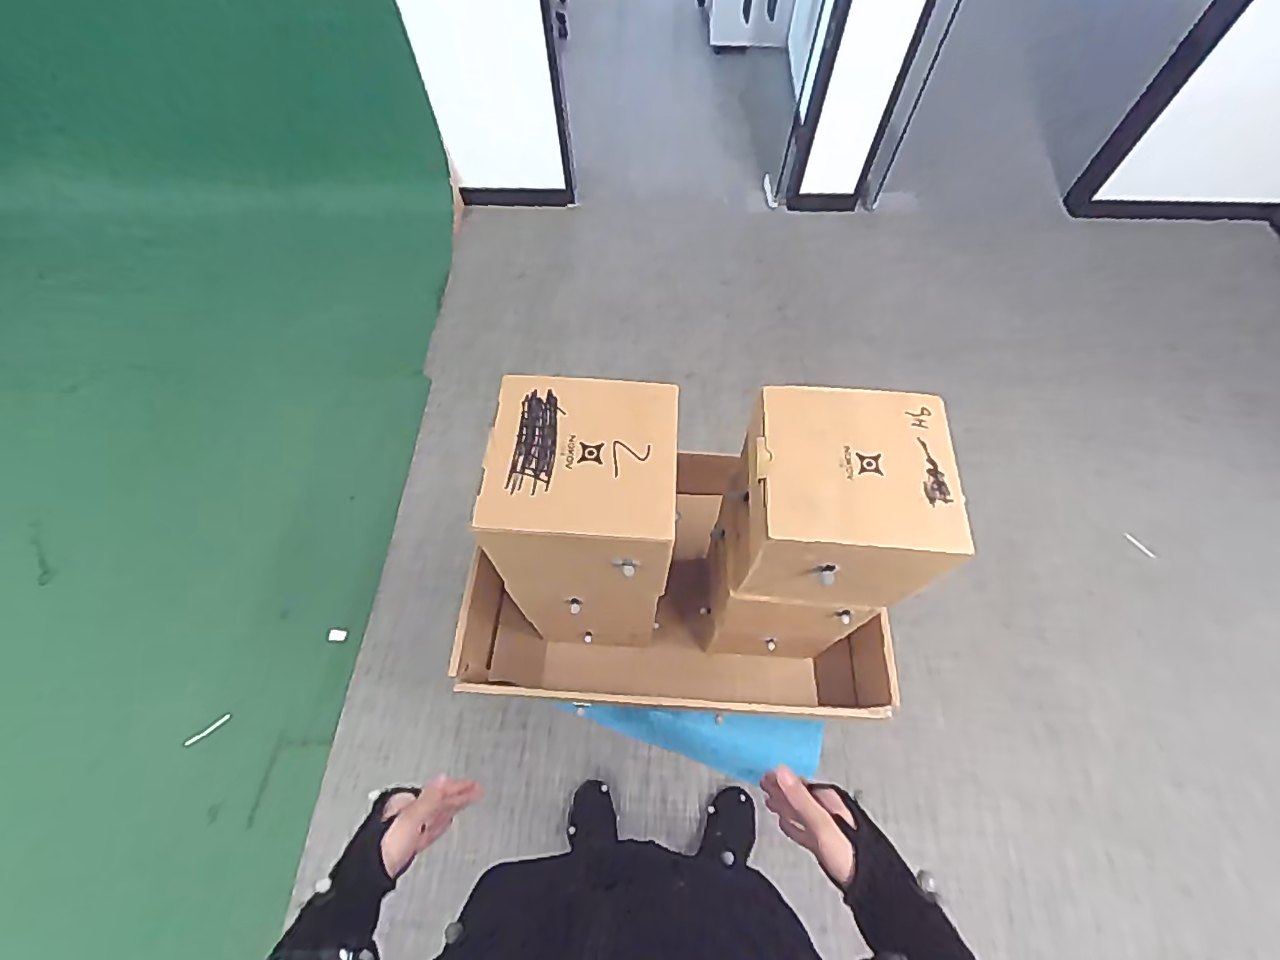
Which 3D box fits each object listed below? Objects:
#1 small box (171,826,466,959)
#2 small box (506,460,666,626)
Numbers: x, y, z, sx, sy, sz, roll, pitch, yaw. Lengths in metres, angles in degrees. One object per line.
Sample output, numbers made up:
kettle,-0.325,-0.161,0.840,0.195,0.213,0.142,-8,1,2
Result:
small box,-0.236,0.421,0.425,0.179,0.176,0.168,-26,52,-25
small box,-0.060,0.089,0.710,0.179,0.176,0.168,3,63,0
